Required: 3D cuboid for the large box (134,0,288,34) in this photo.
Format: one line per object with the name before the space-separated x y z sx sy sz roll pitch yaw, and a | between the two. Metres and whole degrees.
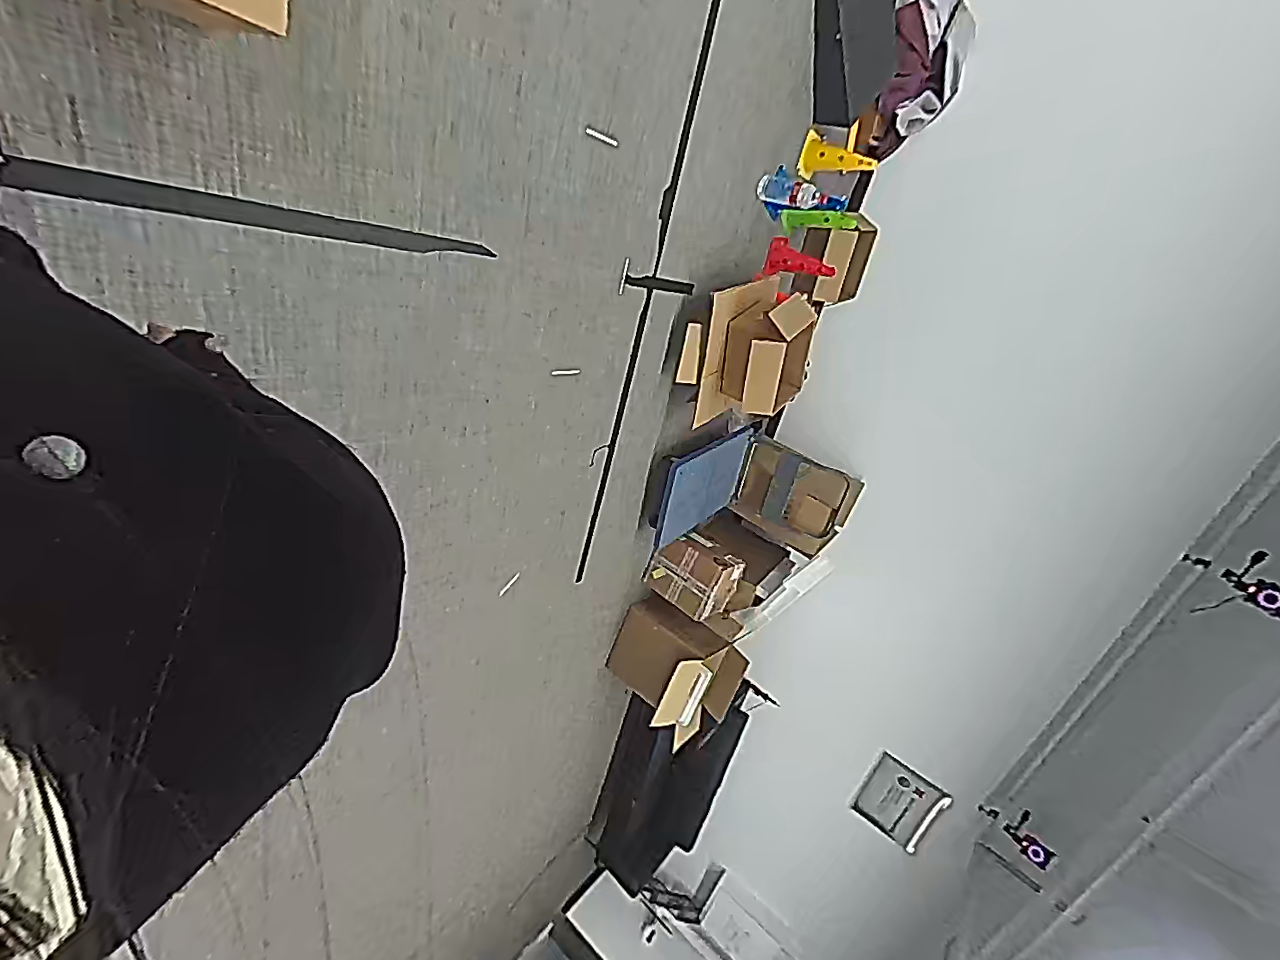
large box | -0.749 -0.862 0.707 0.408 0.320 0.320 -16 129 -53
